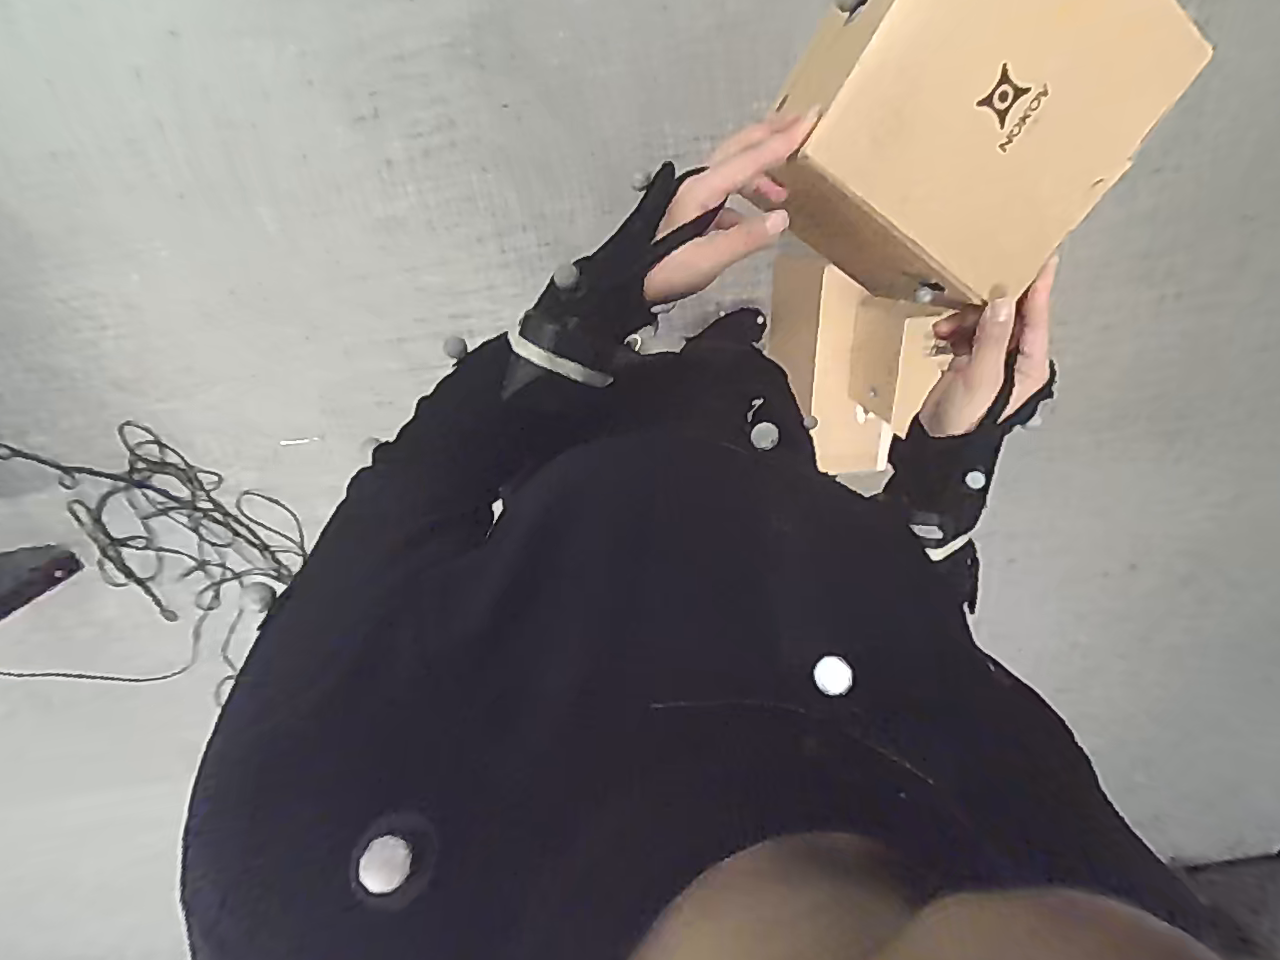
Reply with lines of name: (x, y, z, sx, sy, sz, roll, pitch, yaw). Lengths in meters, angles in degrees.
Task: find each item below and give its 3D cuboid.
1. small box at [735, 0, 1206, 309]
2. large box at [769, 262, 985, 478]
small box: (0.191, -0.239, 0.371, 0.179, 0.176, 0.168, 26, 108, -17)
large box: (0.477, -0.257, 1.169, 0.320, 0.320, 0.408, -3, 114, -1)
